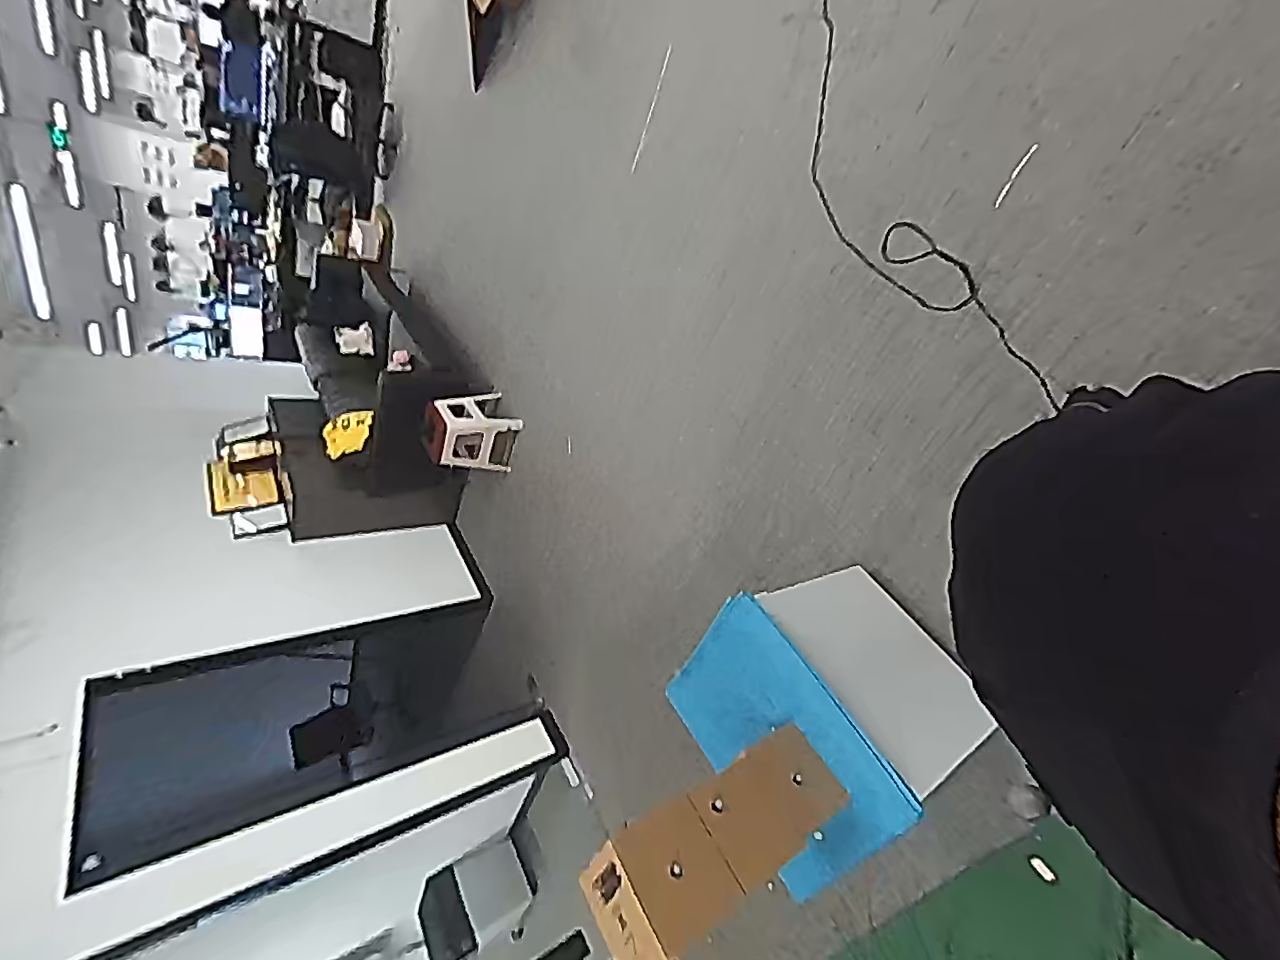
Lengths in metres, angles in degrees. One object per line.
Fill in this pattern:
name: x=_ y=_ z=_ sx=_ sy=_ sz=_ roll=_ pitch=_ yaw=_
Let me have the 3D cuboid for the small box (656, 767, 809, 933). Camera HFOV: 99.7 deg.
small box: x=0.165 y=0.655 z=0.982 sx=0.179 sy=0.176 sz=0.168 roll=49 pitch=130 yaw=35

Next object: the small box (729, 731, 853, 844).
small box: x=0.286 y=0.638 z=1.092 sx=0.179 sy=0.176 sz=0.168 roll=49 pitch=130 yaw=34
